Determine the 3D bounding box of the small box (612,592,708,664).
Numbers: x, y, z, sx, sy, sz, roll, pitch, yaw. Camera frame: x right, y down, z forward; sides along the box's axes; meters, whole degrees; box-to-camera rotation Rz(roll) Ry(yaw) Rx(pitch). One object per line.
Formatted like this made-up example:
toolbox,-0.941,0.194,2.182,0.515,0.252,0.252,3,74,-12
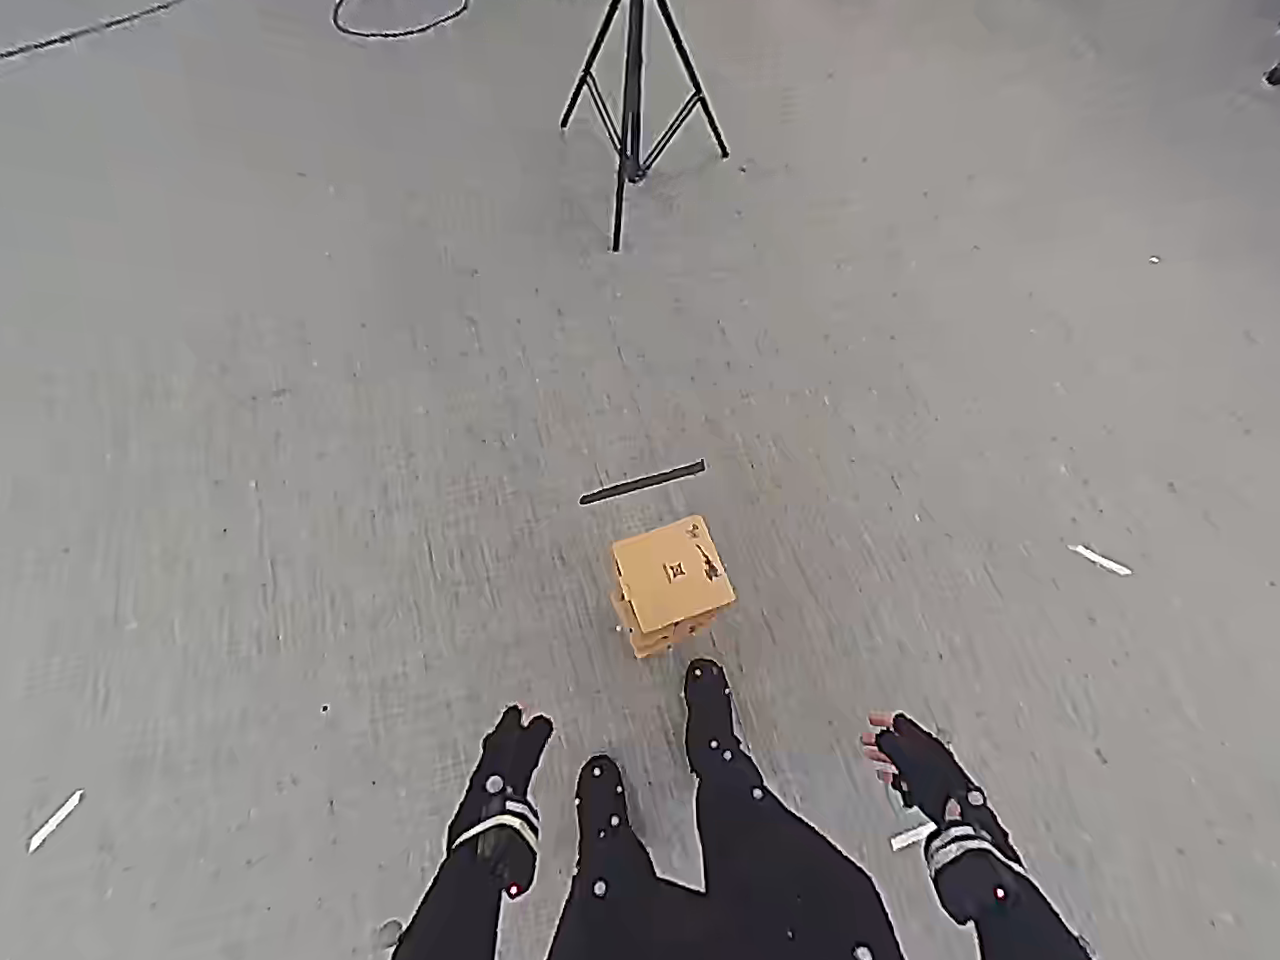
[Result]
small box,0.042,0.328,1.297,0.179,0.176,0.168,-22,71,-9

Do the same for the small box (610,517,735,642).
small box,0.053,0.191,1.001,0.179,0.176,0.168,-18,71,-9

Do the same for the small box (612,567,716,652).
small box,0.045,0.257,1.151,0.168,0.176,0.179,-18,70,-10
